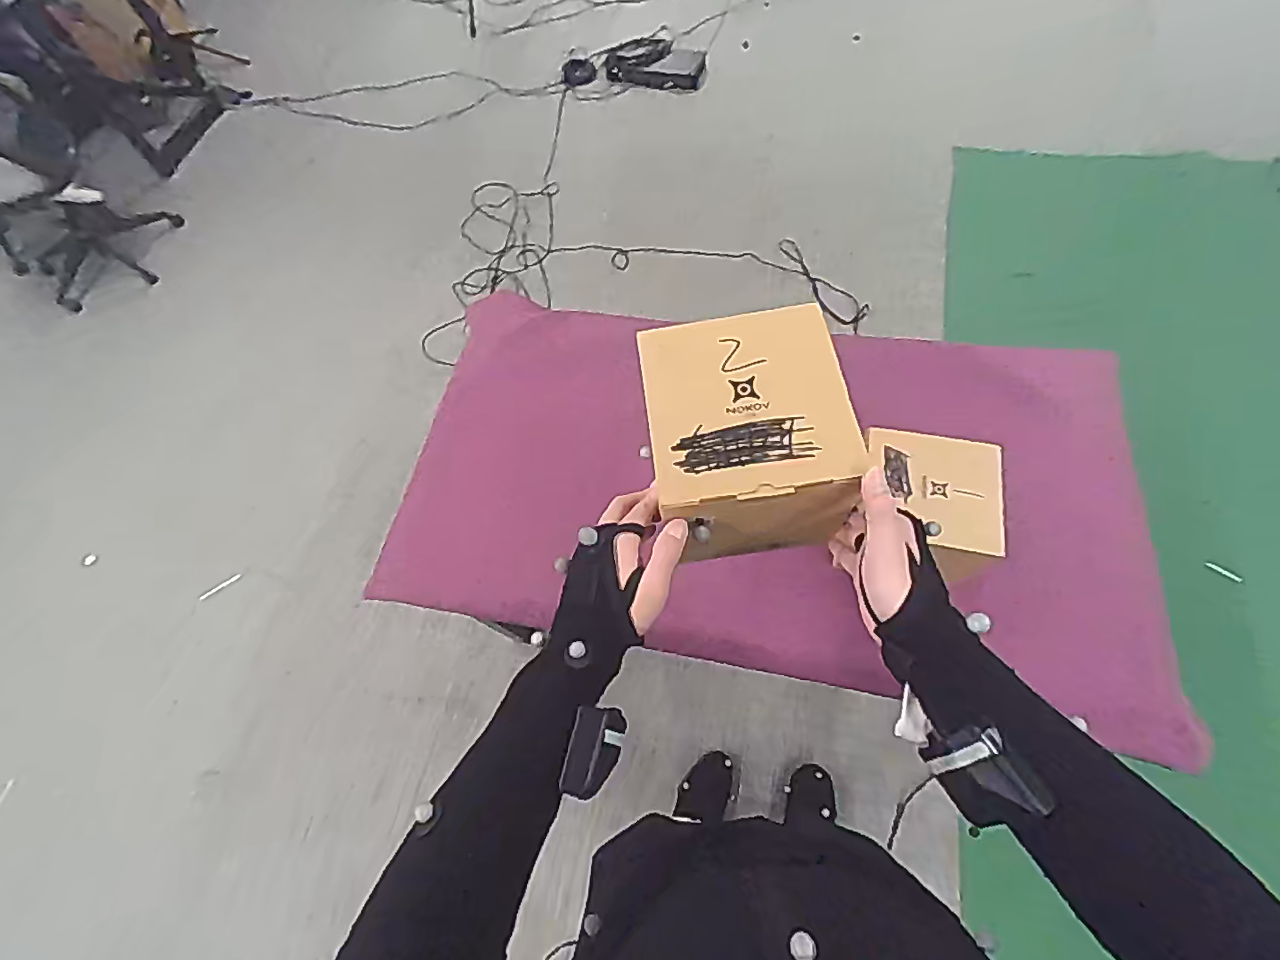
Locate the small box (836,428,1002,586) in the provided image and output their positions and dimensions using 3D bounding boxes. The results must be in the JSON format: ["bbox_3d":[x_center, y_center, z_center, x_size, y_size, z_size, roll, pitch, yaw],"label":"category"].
[{"bbox_3d":[0.400,0.046,0.799,0.179,0.176,0.168,11,66,11],"label":"small box"}]
